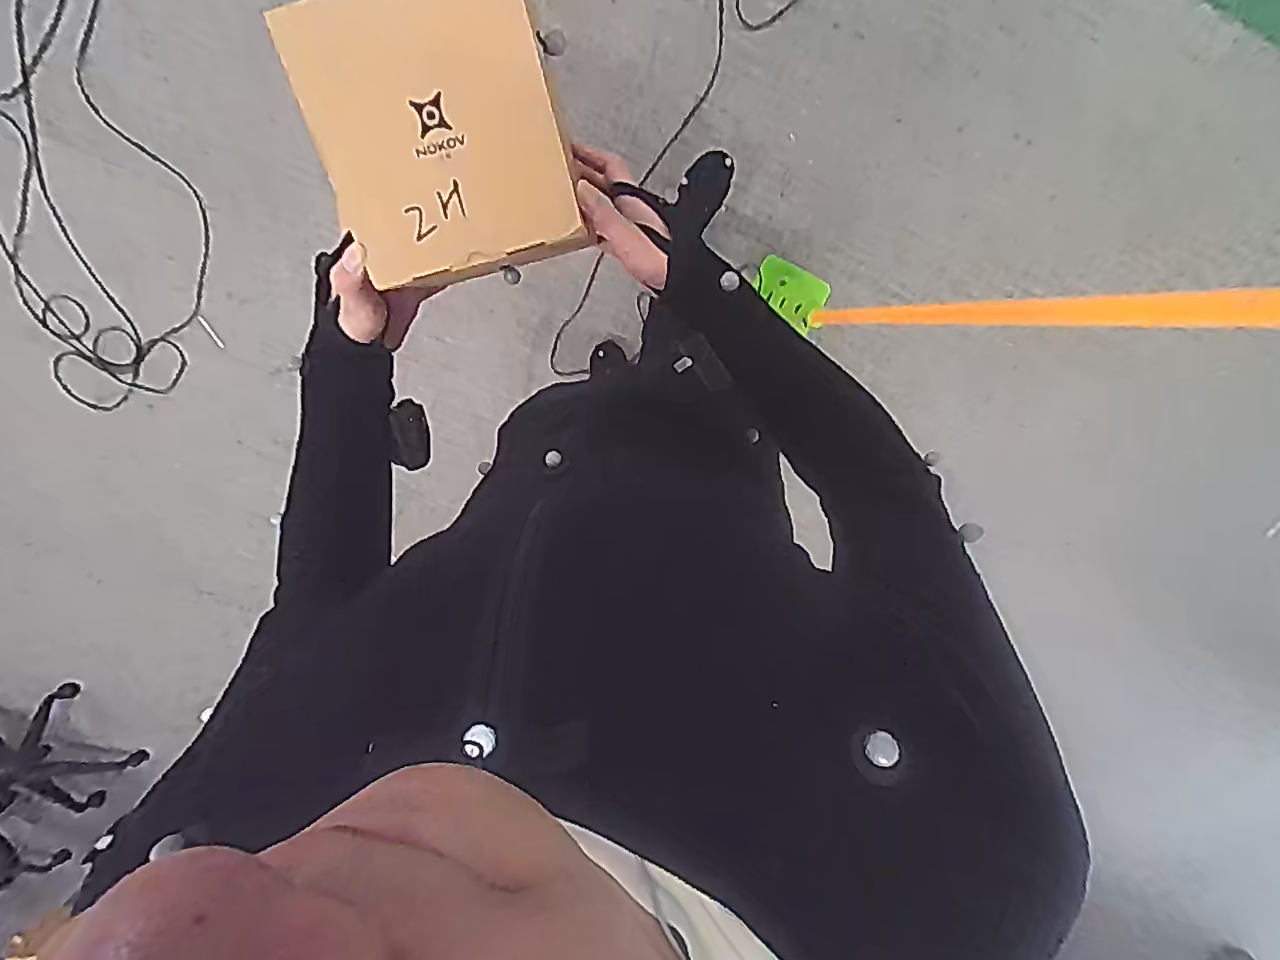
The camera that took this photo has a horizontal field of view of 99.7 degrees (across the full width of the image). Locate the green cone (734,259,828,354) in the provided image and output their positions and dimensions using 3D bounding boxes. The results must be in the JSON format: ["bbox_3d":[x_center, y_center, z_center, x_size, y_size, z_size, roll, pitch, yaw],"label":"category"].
[{"bbox_3d":[0.375,-0.408,1.308,0.202,0.368,0.200,25,110,-7],"label":"green cone"}]

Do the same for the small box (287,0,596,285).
[{"bbox_3d":[-0.138,-0.271,0.454,0.168,0.176,0.179,-13,111,4],"label":"small box"}]
